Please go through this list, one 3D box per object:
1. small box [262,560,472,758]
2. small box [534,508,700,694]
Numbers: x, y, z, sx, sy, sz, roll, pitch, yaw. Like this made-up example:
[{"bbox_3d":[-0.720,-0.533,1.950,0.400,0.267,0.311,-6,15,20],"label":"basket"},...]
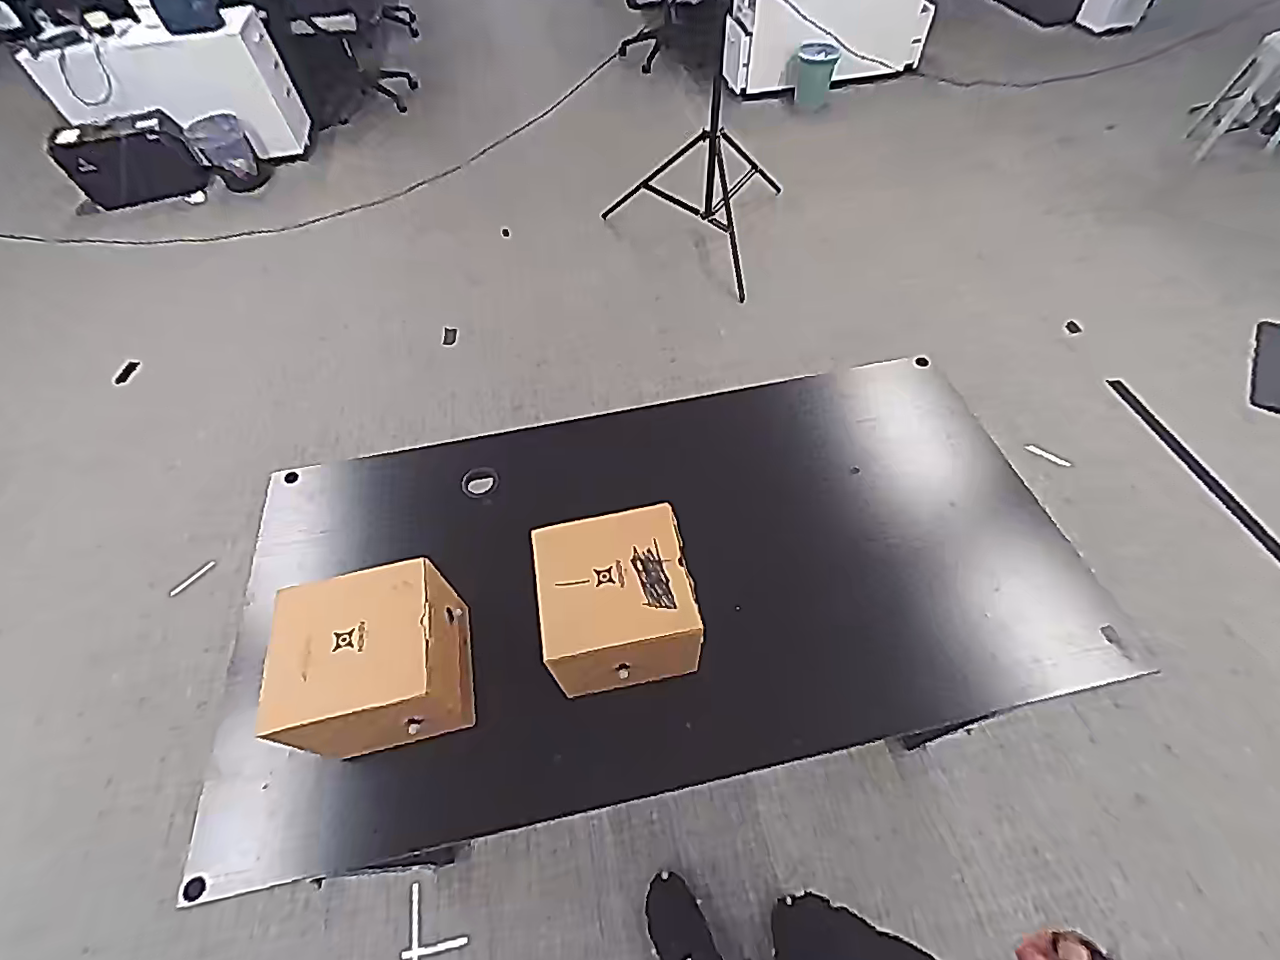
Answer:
[{"bbox_3d":[-0.315,0.224,0.666,0.179,0.176,0.168,-14,55,-5],"label":"small box"},{"bbox_3d":[-0.029,0.159,0.692,0.179,0.176,0.168,-11,55,-3],"label":"small box"}]
